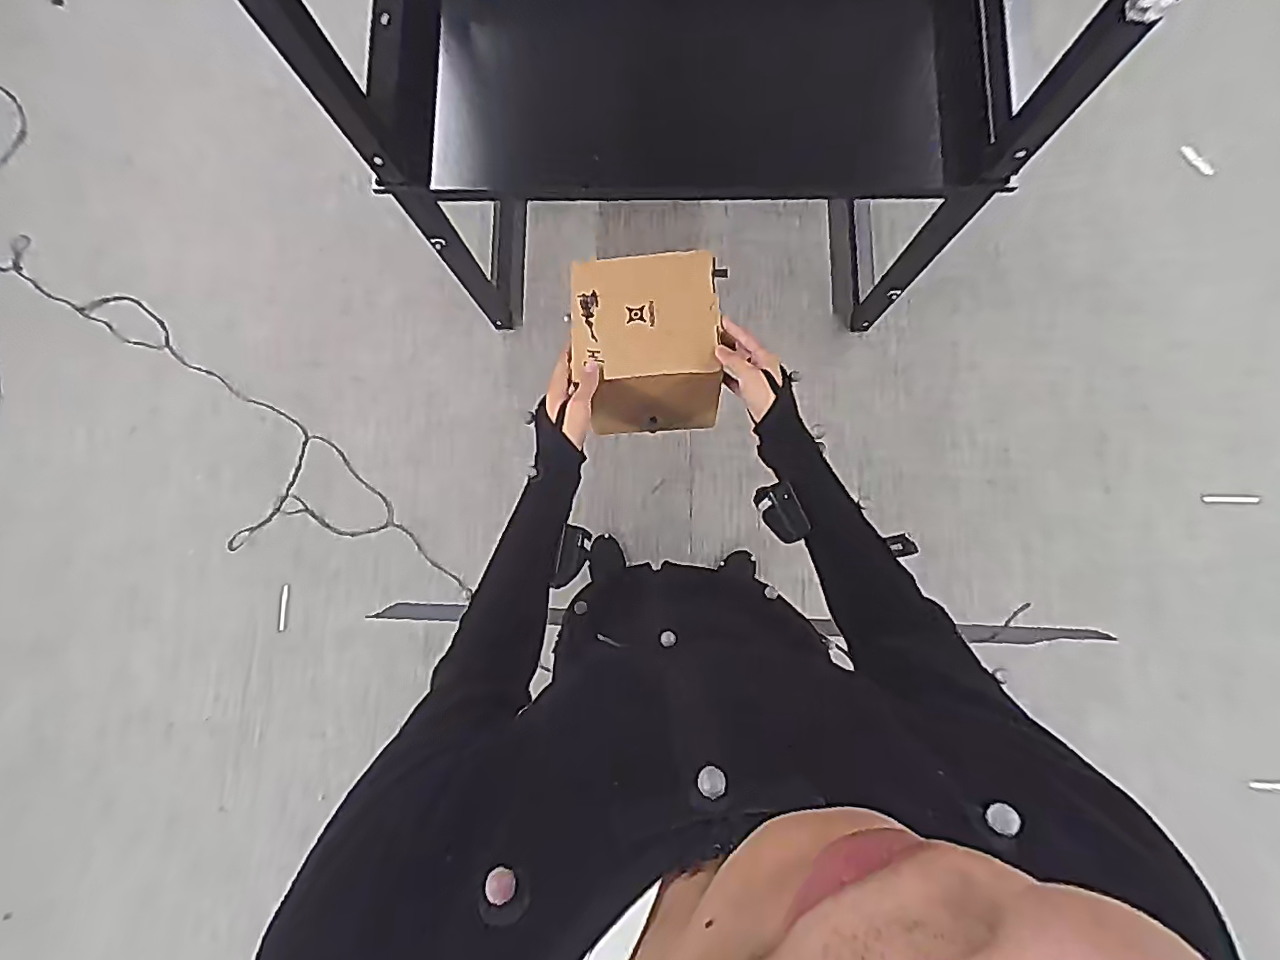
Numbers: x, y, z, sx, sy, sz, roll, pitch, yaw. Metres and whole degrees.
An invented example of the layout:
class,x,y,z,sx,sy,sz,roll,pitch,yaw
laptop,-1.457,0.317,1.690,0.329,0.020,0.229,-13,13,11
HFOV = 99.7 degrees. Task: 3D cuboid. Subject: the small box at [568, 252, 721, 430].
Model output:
class,x,y,z,sx,sy,sz,roll,pitch,yaw
small box,0.007,-0.173,0.712,0.179,0.176,0.168,-3,73,3
